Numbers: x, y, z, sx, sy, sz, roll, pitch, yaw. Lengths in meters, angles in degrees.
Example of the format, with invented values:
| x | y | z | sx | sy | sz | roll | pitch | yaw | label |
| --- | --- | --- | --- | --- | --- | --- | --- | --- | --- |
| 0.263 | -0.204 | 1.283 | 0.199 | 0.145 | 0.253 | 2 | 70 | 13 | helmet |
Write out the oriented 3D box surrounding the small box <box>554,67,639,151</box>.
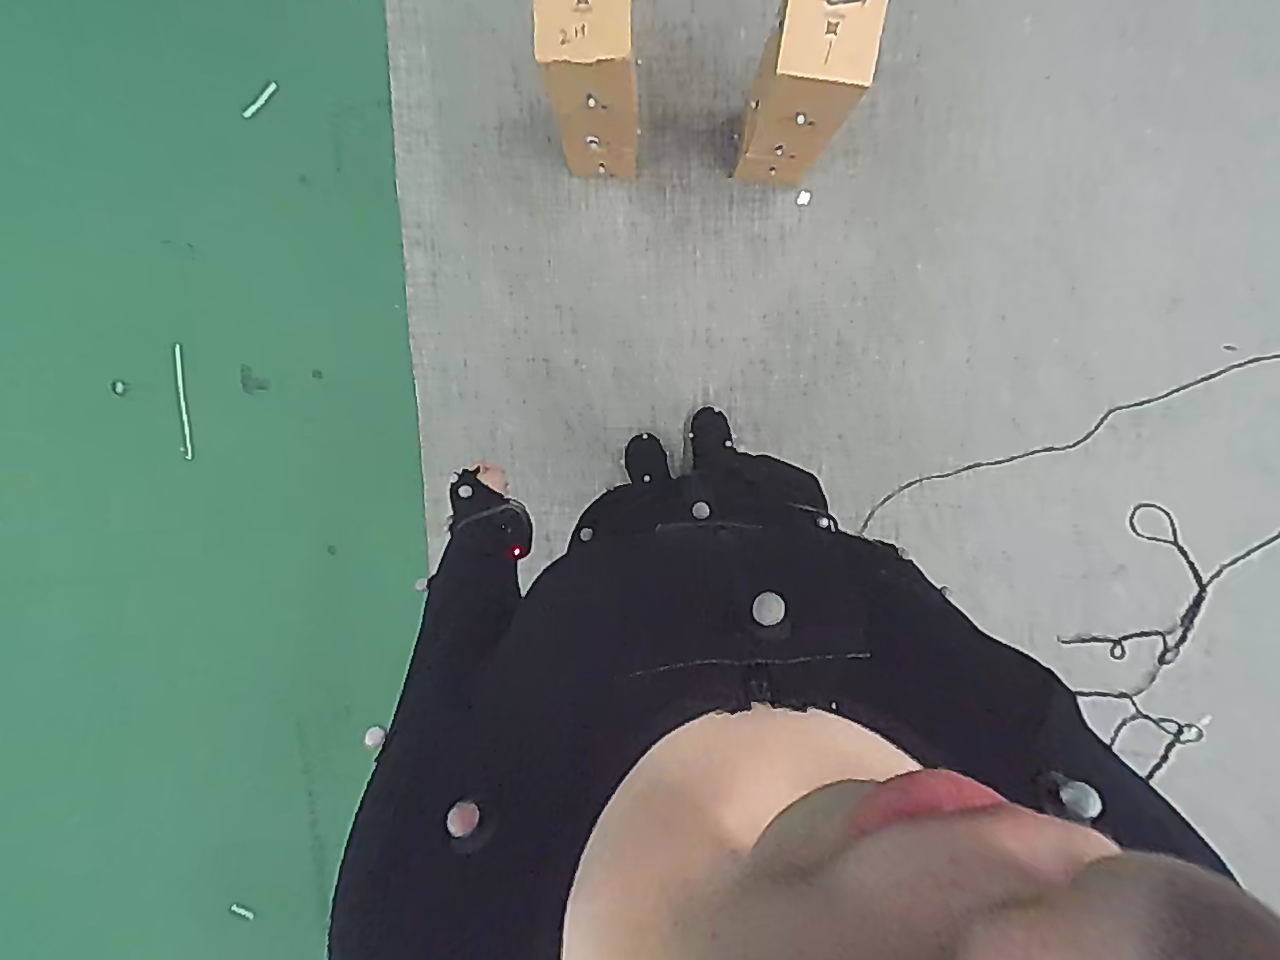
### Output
| x | y | z | sx | sy | sz | roll | pitch | yaw | label |
| --- | --- | --- | --- | --- | --- | --- | --- | --- | --- |
| -0.089 | -0.833 | 1.154 | 0.168 | 0.176 | 0.179 | 0 | 99 | 3 | small box |

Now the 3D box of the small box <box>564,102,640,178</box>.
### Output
| x | y | z | sx | sy | sz | roll | pitch | yaw | label |
| --- | --- | --- | --- | --- | --- | --- | --- | --- | --- |
| -0.088 | -0.859 | 1.315 | 0.168 | 0.176 | 0.179 | 3 | 99 | 1 | small box |

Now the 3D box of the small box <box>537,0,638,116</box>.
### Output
| x | y | z | sx | sy | sz | roll | pitch | yaw | label |
| --- | --- | --- | --- | --- | --- | --- | --- | --- | --- |
| -0.091 | -0.806 | 0.991 | 0.168 | 0.176 | 0.179 | 1 | 98 | 3 | small box |

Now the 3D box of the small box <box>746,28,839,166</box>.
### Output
| x | y | z | sx | sy | sz | roll | pitch | yaw | label |
| --- | --- | --- | --- | --- | --- | --- | --- | --- | --- |
| 0.329 | -0.804 | 1.148 | 0.168 | 0.176 | 0.179 | 7 | 99 | 0 | small box |

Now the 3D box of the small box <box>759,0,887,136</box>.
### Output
| x | y | z | sx | sy | sz | roll | pitch | yaw | label |
| --- | --- | --- | --- | --- | --- | --- | --- | --- | --- |
| 0.324 | -0.771 | 0.987 | 0.168 | 0.176 | 0.179 | 9 | 100 | 0 | small box |
